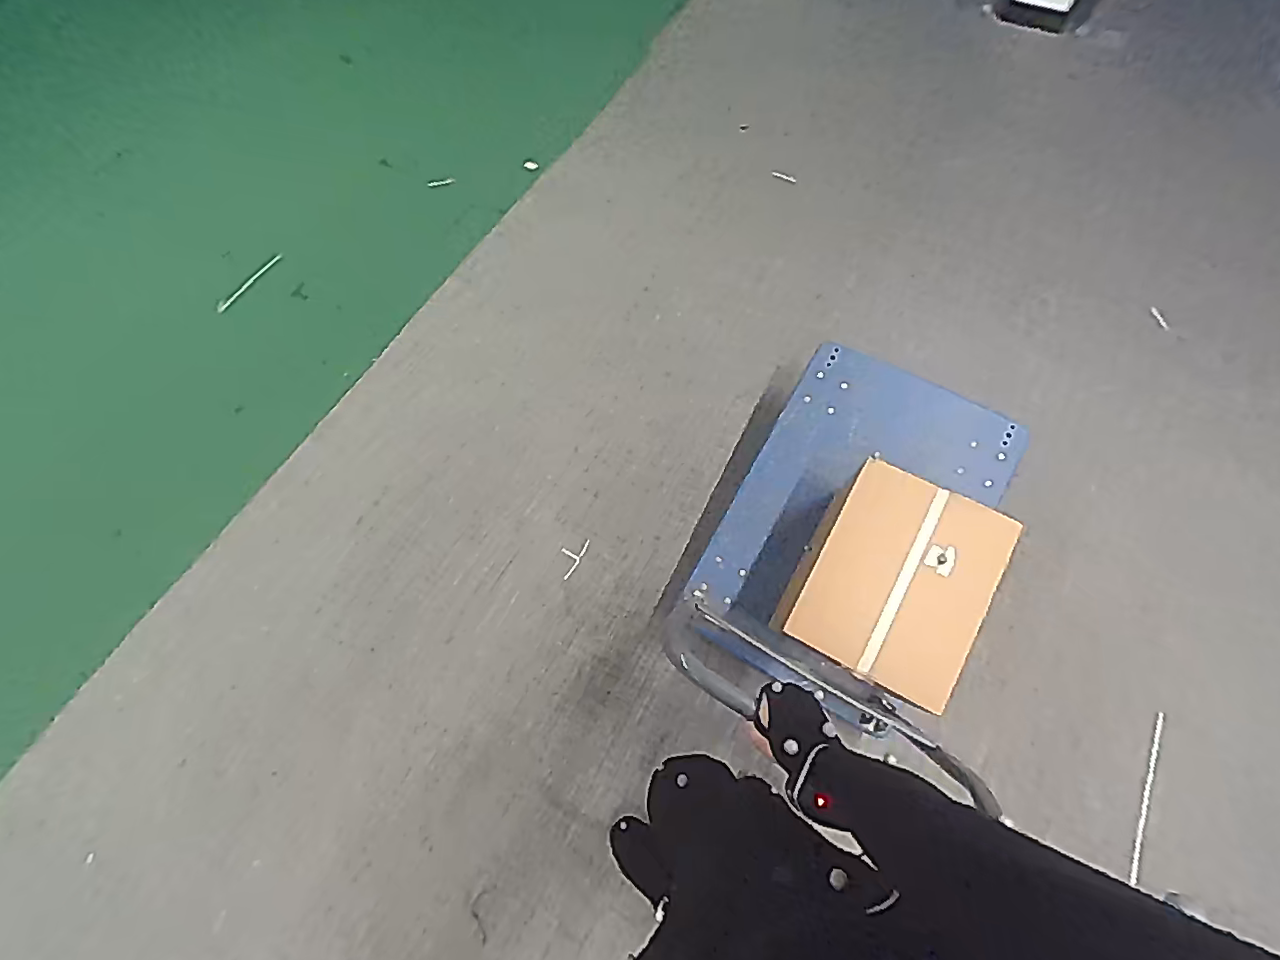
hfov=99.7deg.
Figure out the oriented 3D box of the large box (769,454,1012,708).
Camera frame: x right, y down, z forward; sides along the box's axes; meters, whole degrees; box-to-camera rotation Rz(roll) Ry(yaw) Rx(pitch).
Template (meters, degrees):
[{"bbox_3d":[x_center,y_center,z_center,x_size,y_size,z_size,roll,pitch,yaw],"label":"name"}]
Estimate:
[{"bbox_3d":[0.517,0.220,1.191,0.320,0.320,0.408,28,81,13],"label":"large box"}]
